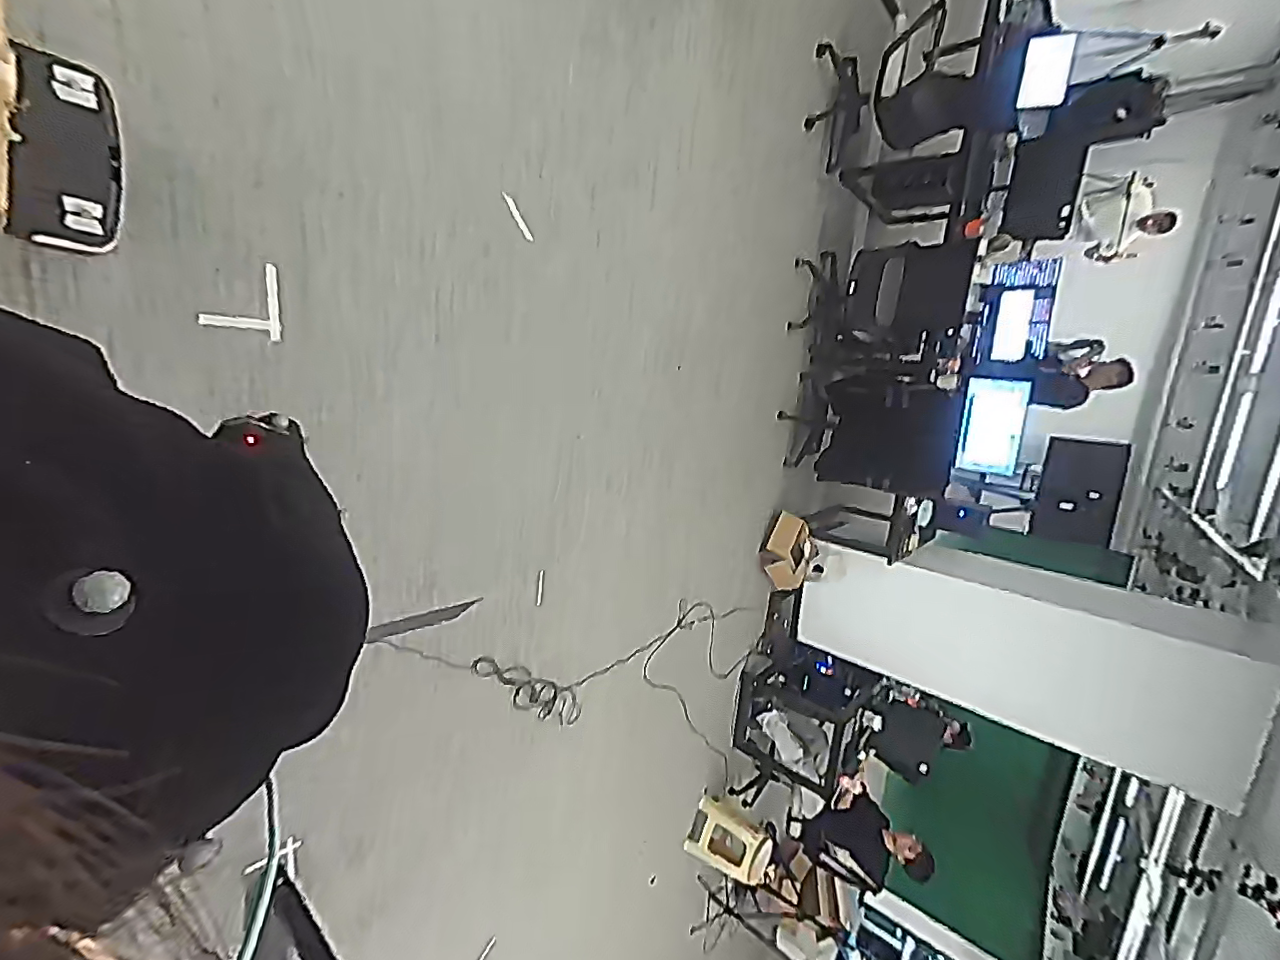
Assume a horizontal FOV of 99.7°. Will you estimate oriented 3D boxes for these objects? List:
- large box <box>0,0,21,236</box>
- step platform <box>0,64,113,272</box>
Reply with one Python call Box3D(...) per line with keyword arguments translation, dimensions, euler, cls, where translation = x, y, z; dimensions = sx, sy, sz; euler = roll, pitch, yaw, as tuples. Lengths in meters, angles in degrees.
Box3D(translation=(-0.977, -0.491, 0.580), dimensions=(0.408, 0.320, 0.320), euler=(0, 100, -50), cls="large box")
Box3D(translation=(-1.173, -0.522, 0.715), dimensions=(0.684, 0.204, 0.286), euler=(3, 98, -50), cls="step platform")
